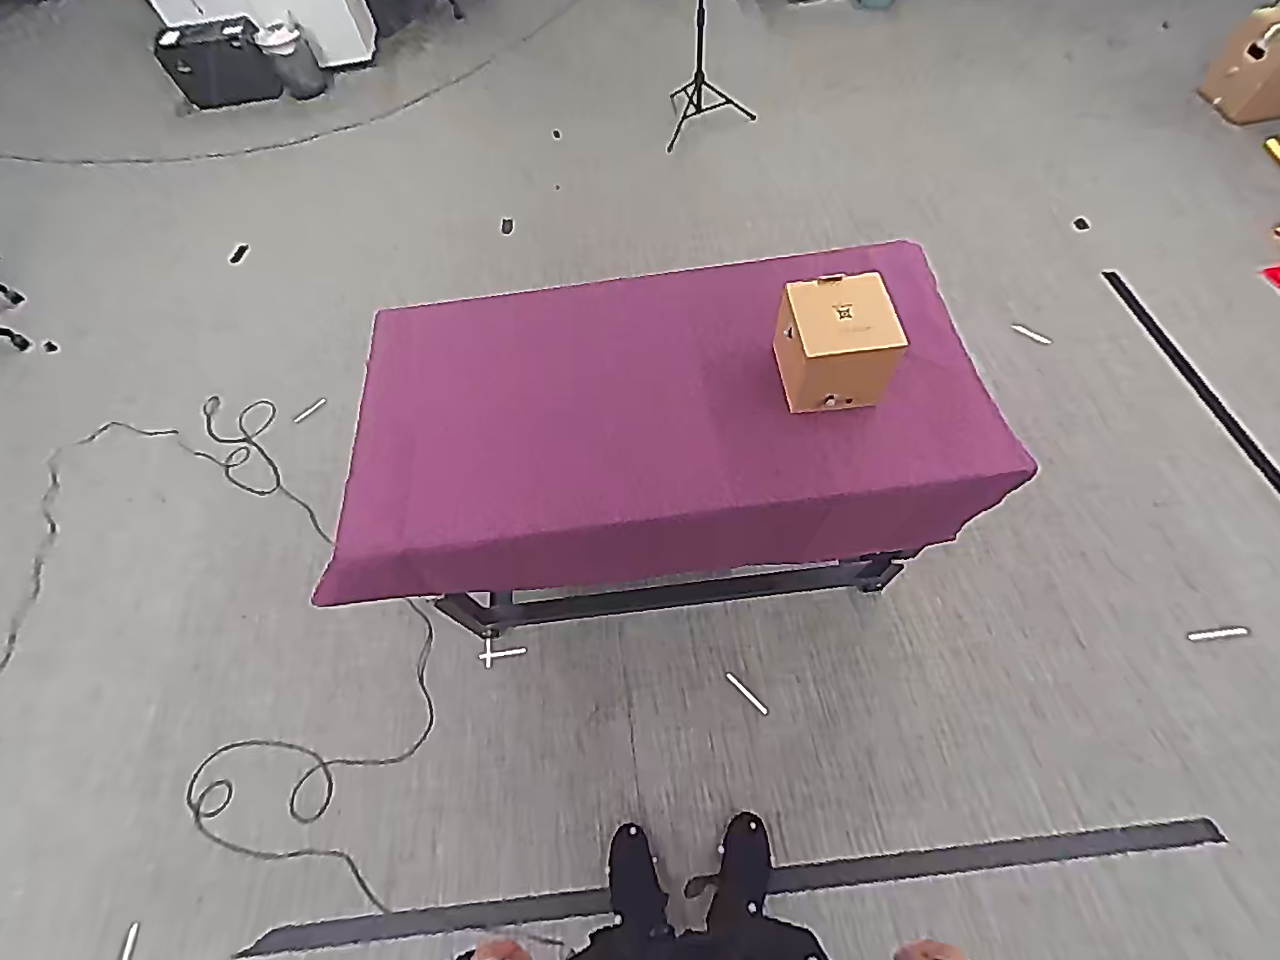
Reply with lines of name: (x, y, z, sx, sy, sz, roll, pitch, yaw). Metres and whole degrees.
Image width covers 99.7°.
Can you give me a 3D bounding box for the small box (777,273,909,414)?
small box: (0.352, -0.242, 0.976, 0.168, 0.176, 0.179, -5, 61, 3)
